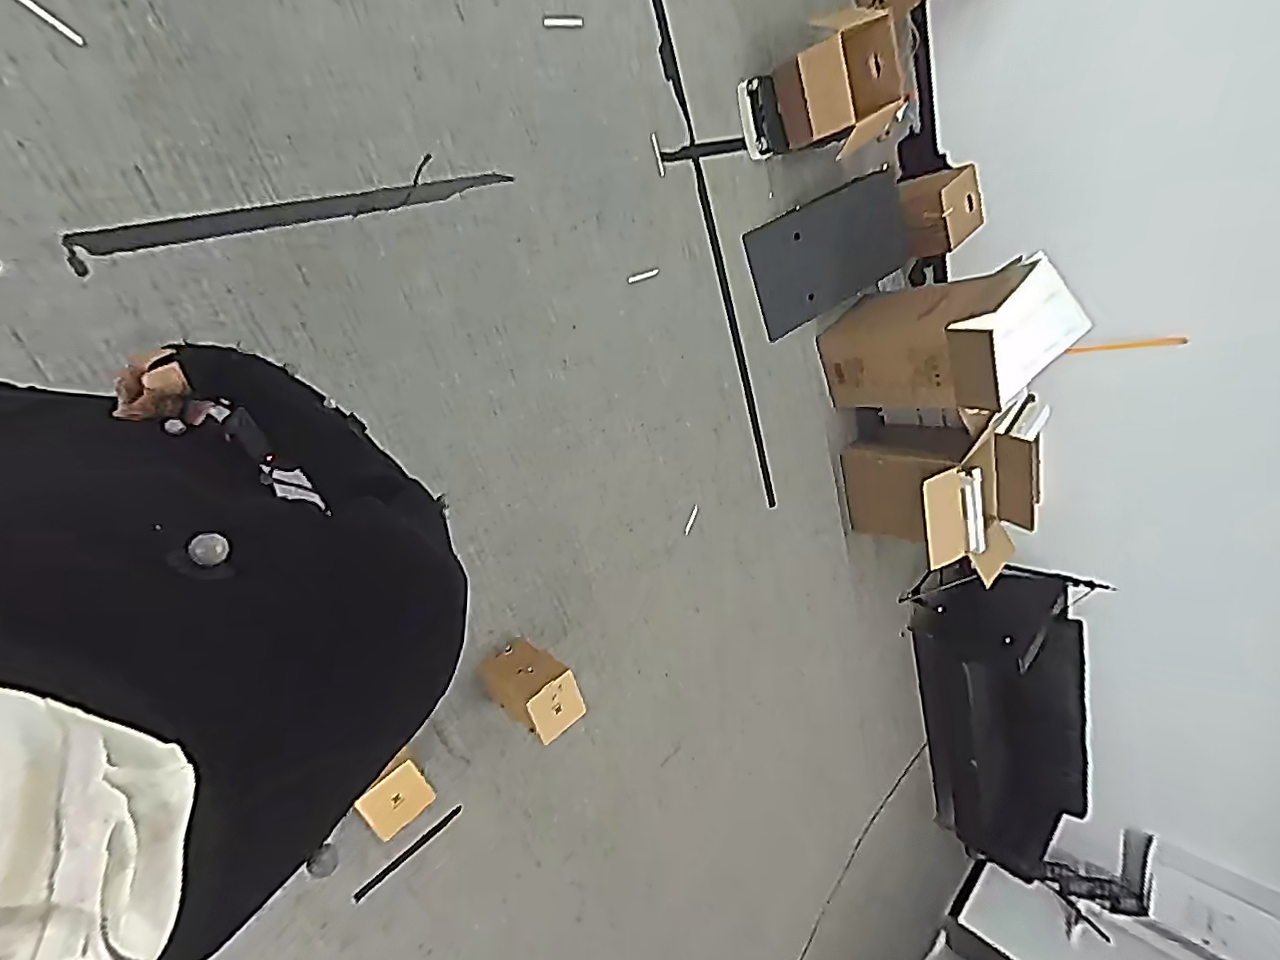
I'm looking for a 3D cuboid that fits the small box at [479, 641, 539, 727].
[{"bbox_3d":[-0.406,0.668,1.794,0.168,0.176,0.179,-29,114,-34],"label":"small box"}]

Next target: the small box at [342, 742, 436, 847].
[{"bbox_3d":[-0.728,0.894,1.562,0.168,0.176,0.179,-35,117,-31],"label":"small box"}]

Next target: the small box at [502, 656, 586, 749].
[{"bbox_3d":[-0.298,0.678,1.671,0.168,0.176,0.179,-30,113,-34],"label":"small box"}]
